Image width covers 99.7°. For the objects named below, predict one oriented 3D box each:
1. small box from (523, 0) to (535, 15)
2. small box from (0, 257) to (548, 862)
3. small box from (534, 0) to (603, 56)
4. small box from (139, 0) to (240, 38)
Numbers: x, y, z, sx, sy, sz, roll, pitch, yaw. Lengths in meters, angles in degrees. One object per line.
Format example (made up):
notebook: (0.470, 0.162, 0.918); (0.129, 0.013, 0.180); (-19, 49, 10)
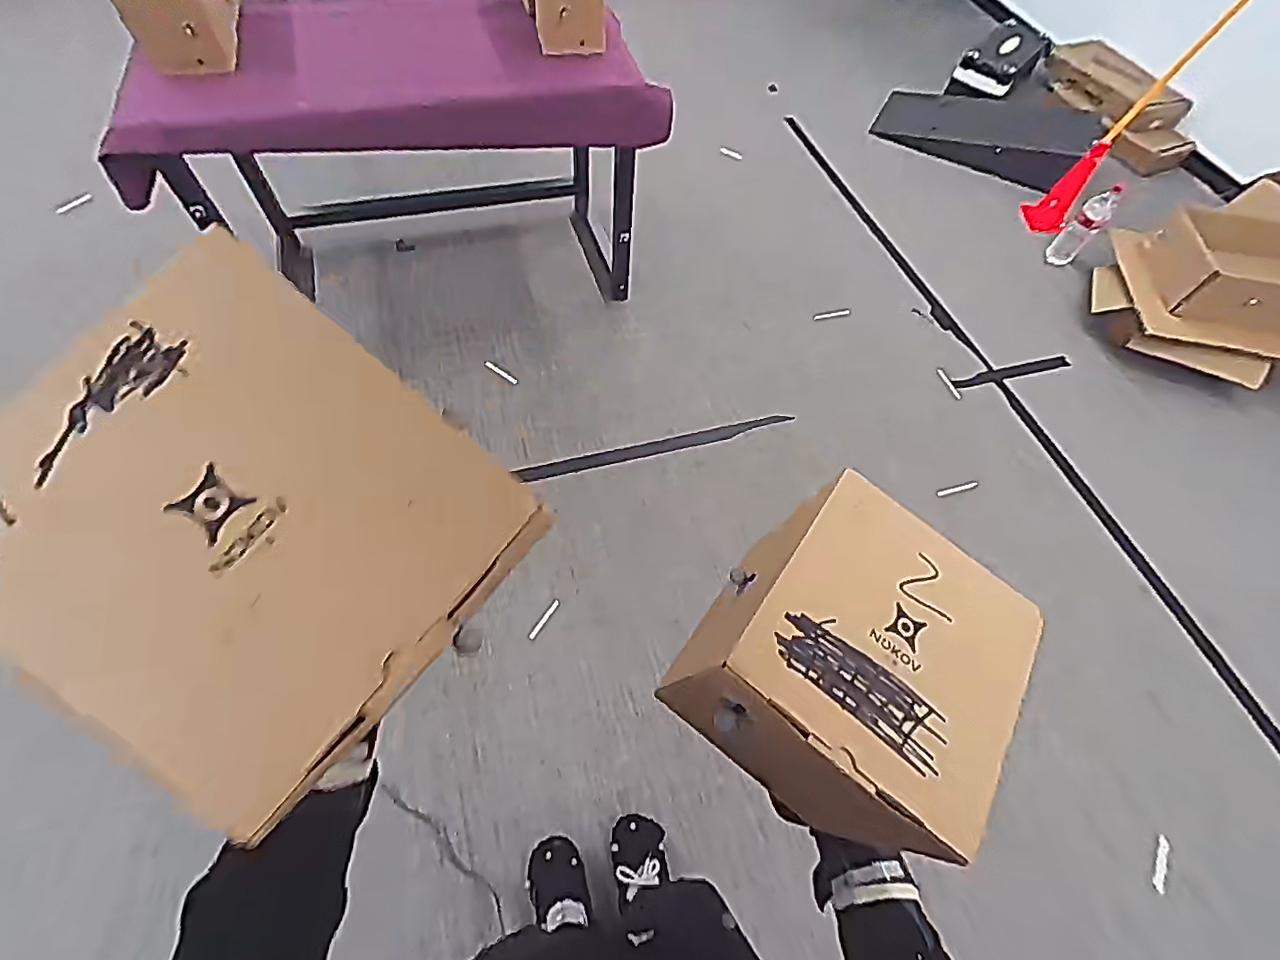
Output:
small box: (-0.257, -1.445, 1.524); (0.179, 0.176, 0.168); (-12, 63, -12)
small box: (-0.162, 0.033, 0.284); (0.179, 0.176, 0.168); (40, 80, -1)
small box: (-0.192, -1.254, 1.429); (0.168, 0.176, 0.179); (-9, 61, -9)
small box: (-1.130, -1.221, 1.328); (0.179, 0.176, 0.168); (-11, 64, -12)
